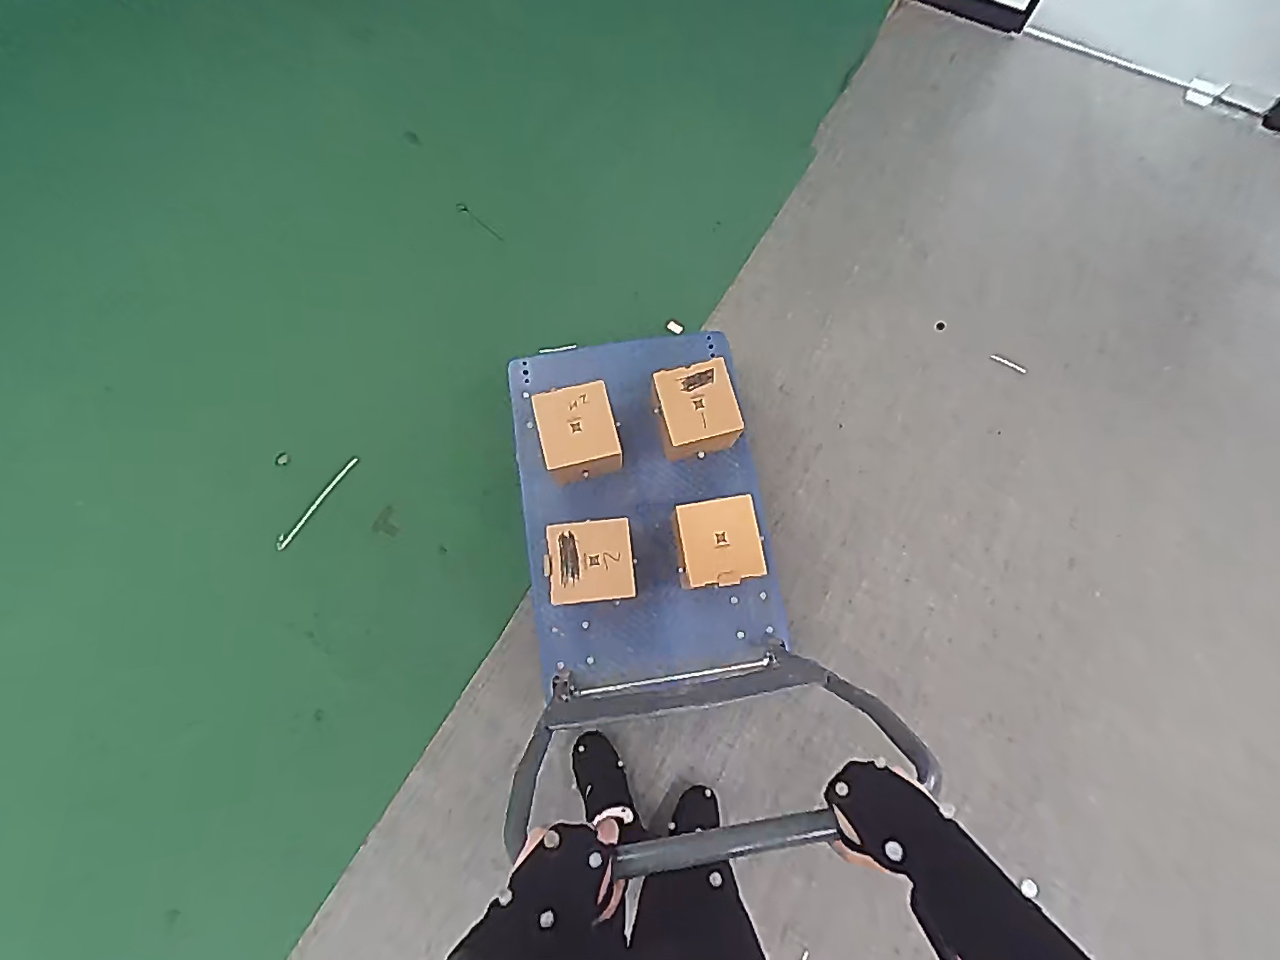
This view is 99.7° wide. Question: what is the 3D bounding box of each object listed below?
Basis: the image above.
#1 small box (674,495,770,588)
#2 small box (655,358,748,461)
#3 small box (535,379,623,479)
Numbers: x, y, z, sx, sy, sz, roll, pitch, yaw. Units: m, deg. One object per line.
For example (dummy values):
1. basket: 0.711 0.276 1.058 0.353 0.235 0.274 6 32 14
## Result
1. small box: 0.174 0.142 1.205 0.168 0.176 0.179 -9 80 -3
2. small box: 0.135 -0.158 1.261 0.168 0.176 0.179 -14 80 -4
3. small box: -0.133 -0.108 1.243 0.168 0.176 0.179 -13 80 -5
